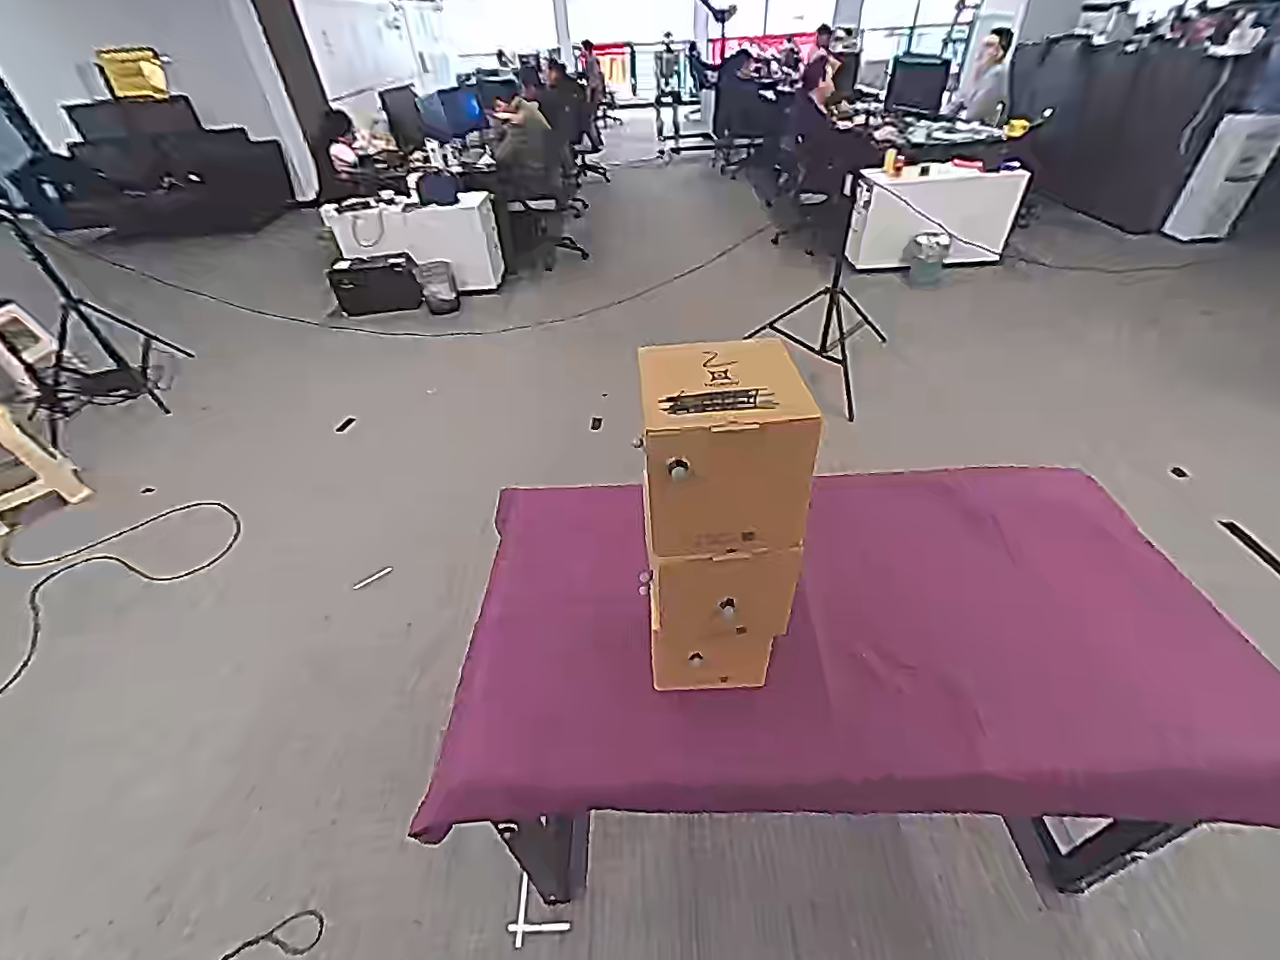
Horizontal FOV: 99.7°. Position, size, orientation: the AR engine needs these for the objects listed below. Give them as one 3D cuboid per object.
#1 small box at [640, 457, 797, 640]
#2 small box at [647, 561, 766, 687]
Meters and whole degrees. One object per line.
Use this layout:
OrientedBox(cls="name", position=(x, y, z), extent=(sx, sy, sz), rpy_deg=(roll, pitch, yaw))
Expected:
OrientedBox(cls="small box", position=(0.093, 0.095, 0.713), extent=(0.168, 0.176, 0.179), rpy_deg=(-6, 41, -3))
OrientedBox(cls="small box", position=(0.098, 0.205, 0.836), extent=(0.168, 0.176, 0.179), rpy_deg=(-3, 40, 1))
